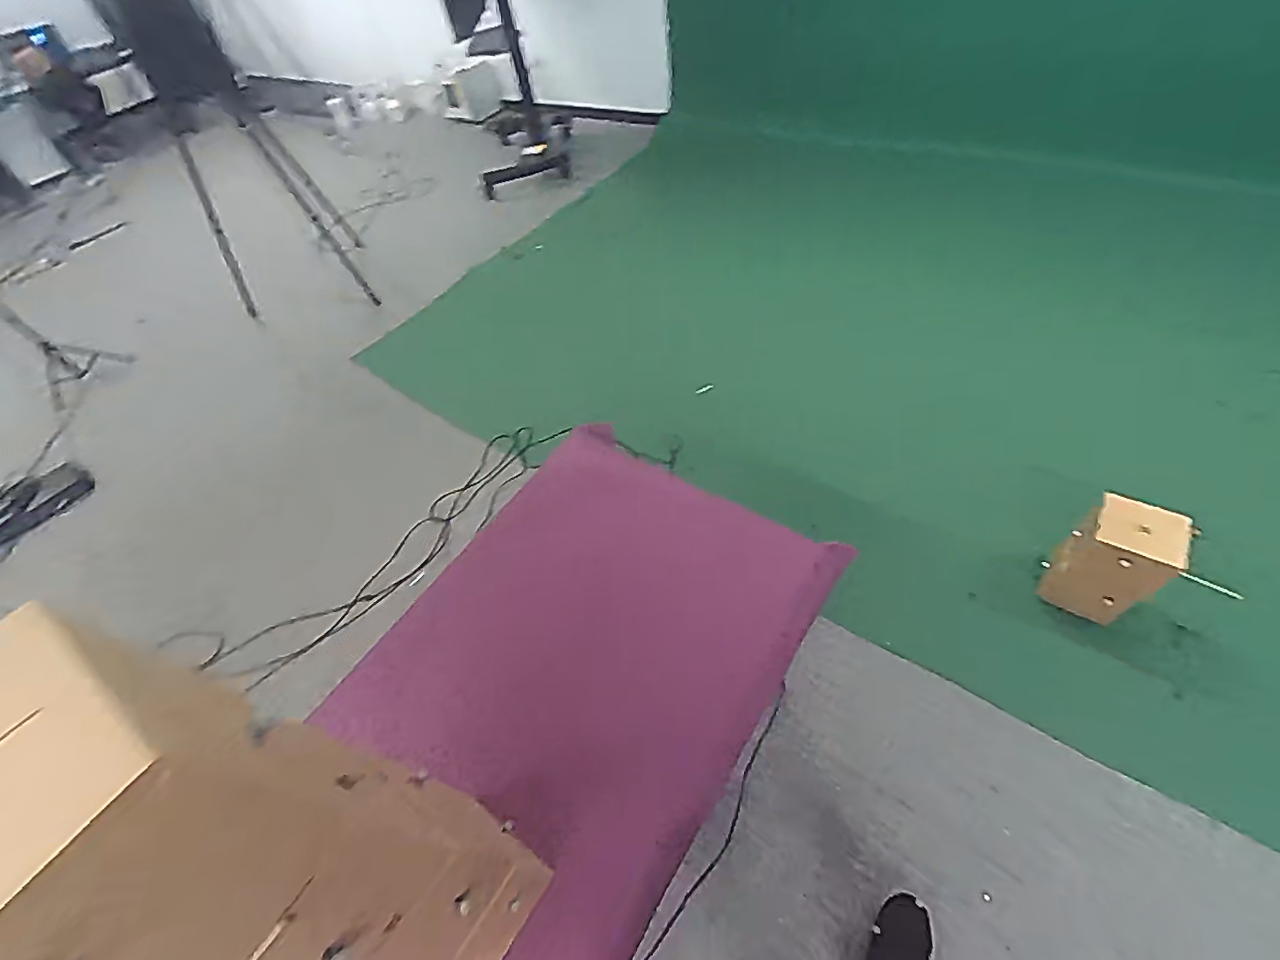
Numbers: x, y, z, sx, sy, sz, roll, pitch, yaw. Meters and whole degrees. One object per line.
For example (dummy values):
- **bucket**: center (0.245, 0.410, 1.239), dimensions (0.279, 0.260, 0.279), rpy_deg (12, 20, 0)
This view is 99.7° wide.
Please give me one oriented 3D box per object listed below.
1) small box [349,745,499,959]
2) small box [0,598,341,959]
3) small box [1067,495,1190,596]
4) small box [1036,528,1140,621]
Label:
- **small box**: center (-0.268, 0.412, 0.549), dimensions (0.168, 0.176, 0.179), rpy_deg (24, 60, 27)
- **small box**: center (-0.317, 0.205, 0.300), dimensions (0.168, 0.176, 0.179), rpy_deg (22, 58, 27)
- **small box**: center (1.246, 0.173, 1.387), dimensions (0.179, 0.176, 0.168), rpy_deg (22, 59, 27)
- **small box**: center (1.263, 0.271, 1.516), dimensions (0.179, 0.176, 0.168), rpy_deg (26, 61, 27)
